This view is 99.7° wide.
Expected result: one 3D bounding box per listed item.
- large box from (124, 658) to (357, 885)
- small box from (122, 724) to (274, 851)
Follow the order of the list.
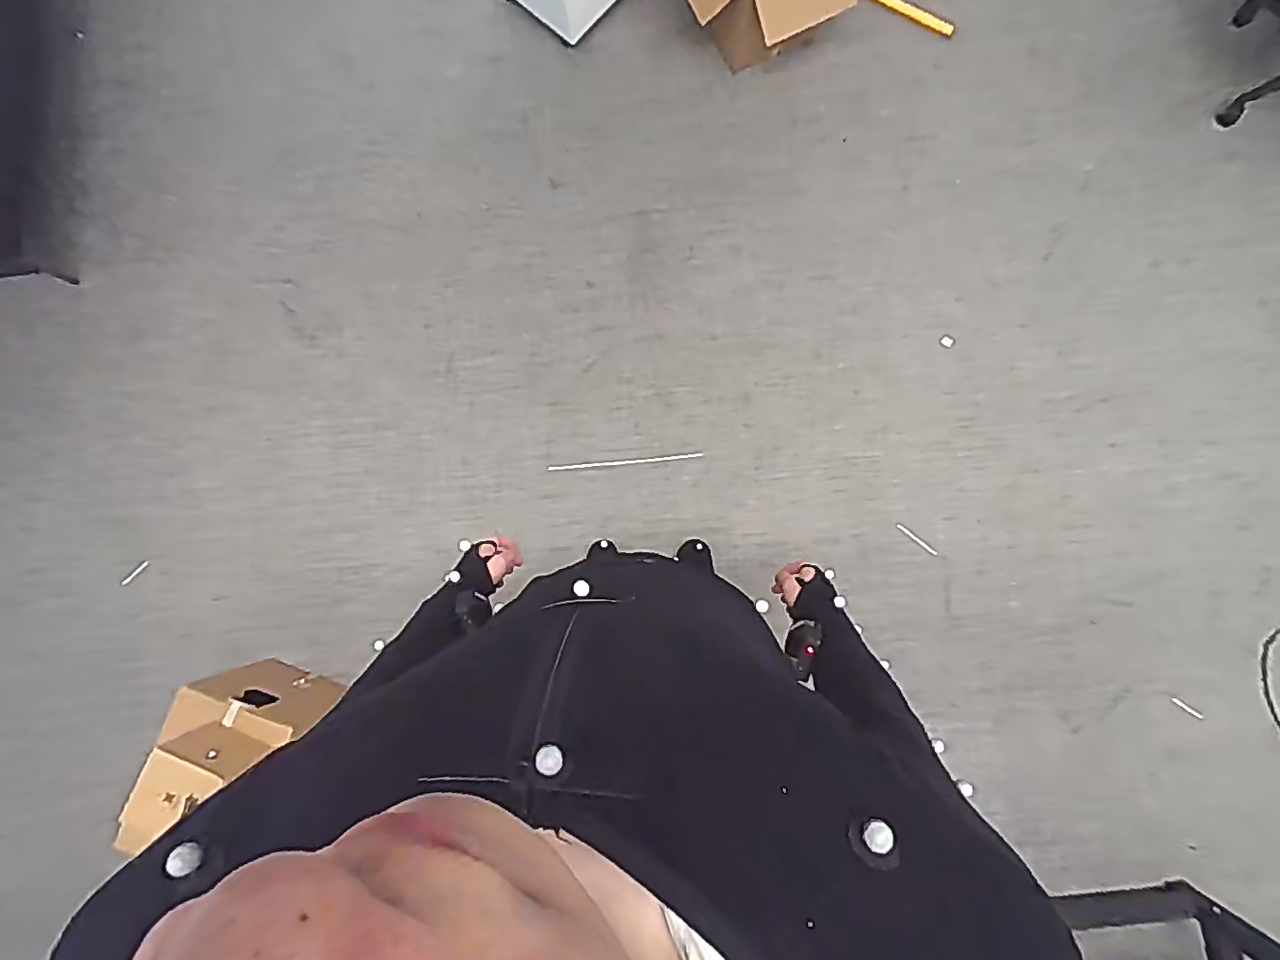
[{"bbox_3d":[-1.046,0.753,1.466,0.320,0.320,0.408,18,86,3],"label":"large box"},{"bbox_3d":[-0.984,0.682,1.224,0.179,0.176,0.168,22,85,2],"label":"small box"}]
